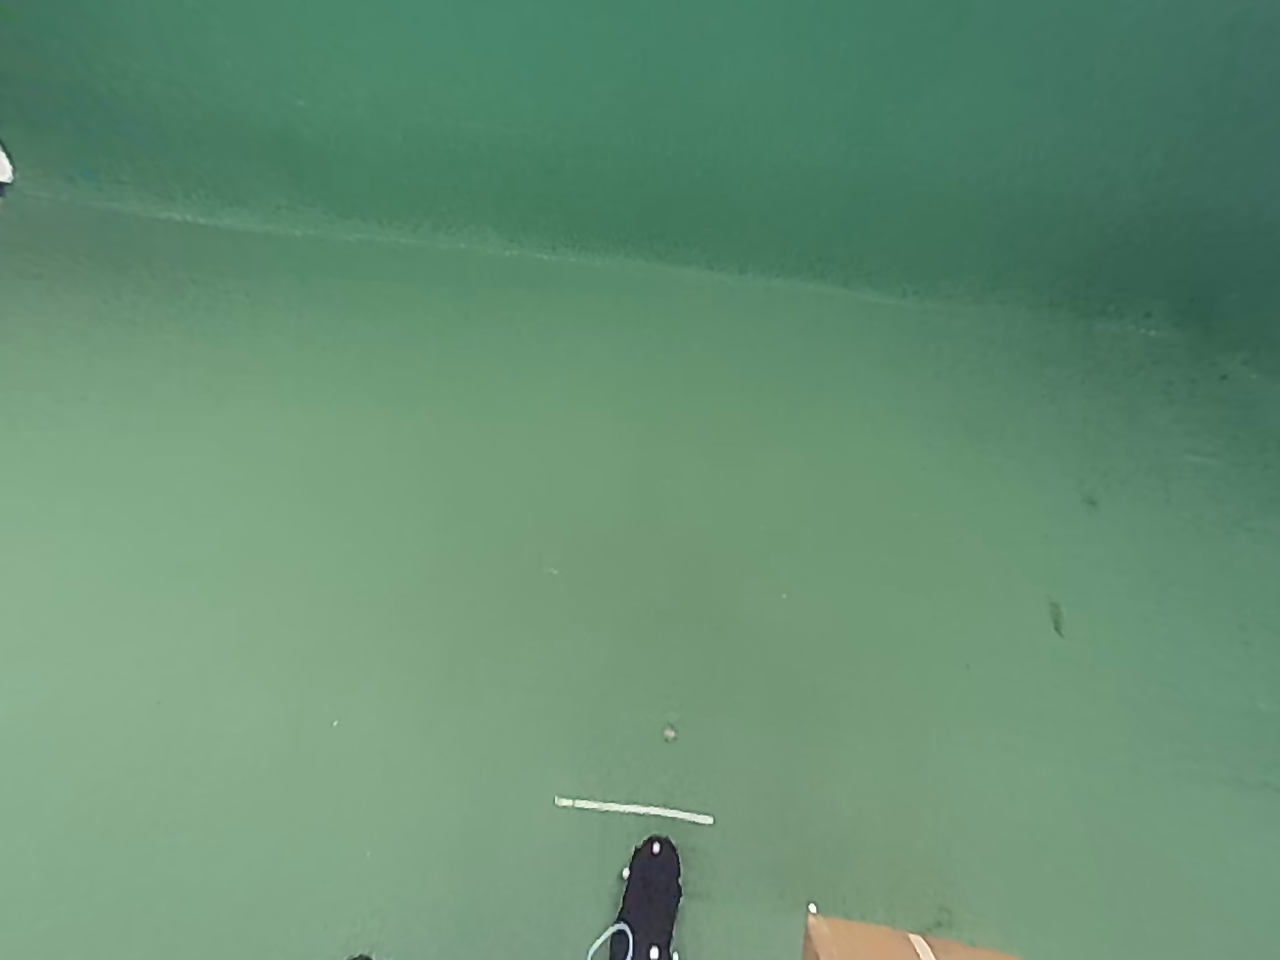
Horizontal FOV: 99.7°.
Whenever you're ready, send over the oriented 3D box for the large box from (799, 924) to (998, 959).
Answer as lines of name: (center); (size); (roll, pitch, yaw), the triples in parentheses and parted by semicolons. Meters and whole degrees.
large box: (0.363, 0.817, 0.594); (0.320, 0.408, 0.320); (9, 84, 4)
